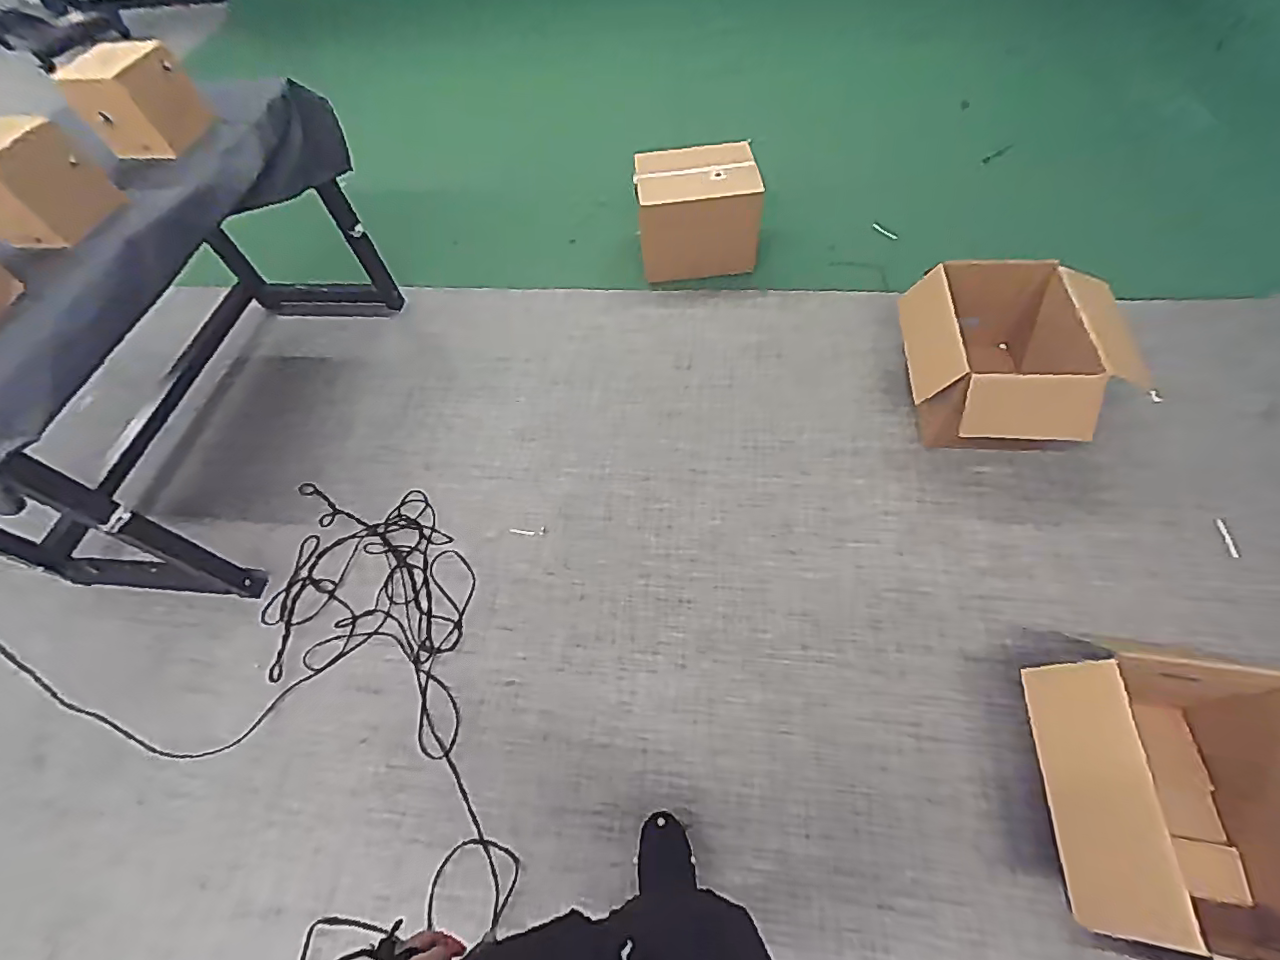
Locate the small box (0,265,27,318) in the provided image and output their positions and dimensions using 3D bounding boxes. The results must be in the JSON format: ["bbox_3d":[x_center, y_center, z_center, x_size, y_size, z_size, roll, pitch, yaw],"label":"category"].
[{"bbox_3d":[-1.245,-0.339,0.924,0.168,0.176,0.179,3,58,6],"label":"small box"}]

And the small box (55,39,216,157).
[{"bbox_3d":[-1.130,-0.864,1.232,0.168,0.176,0.179,5,59,9],"label":"small box"}]
